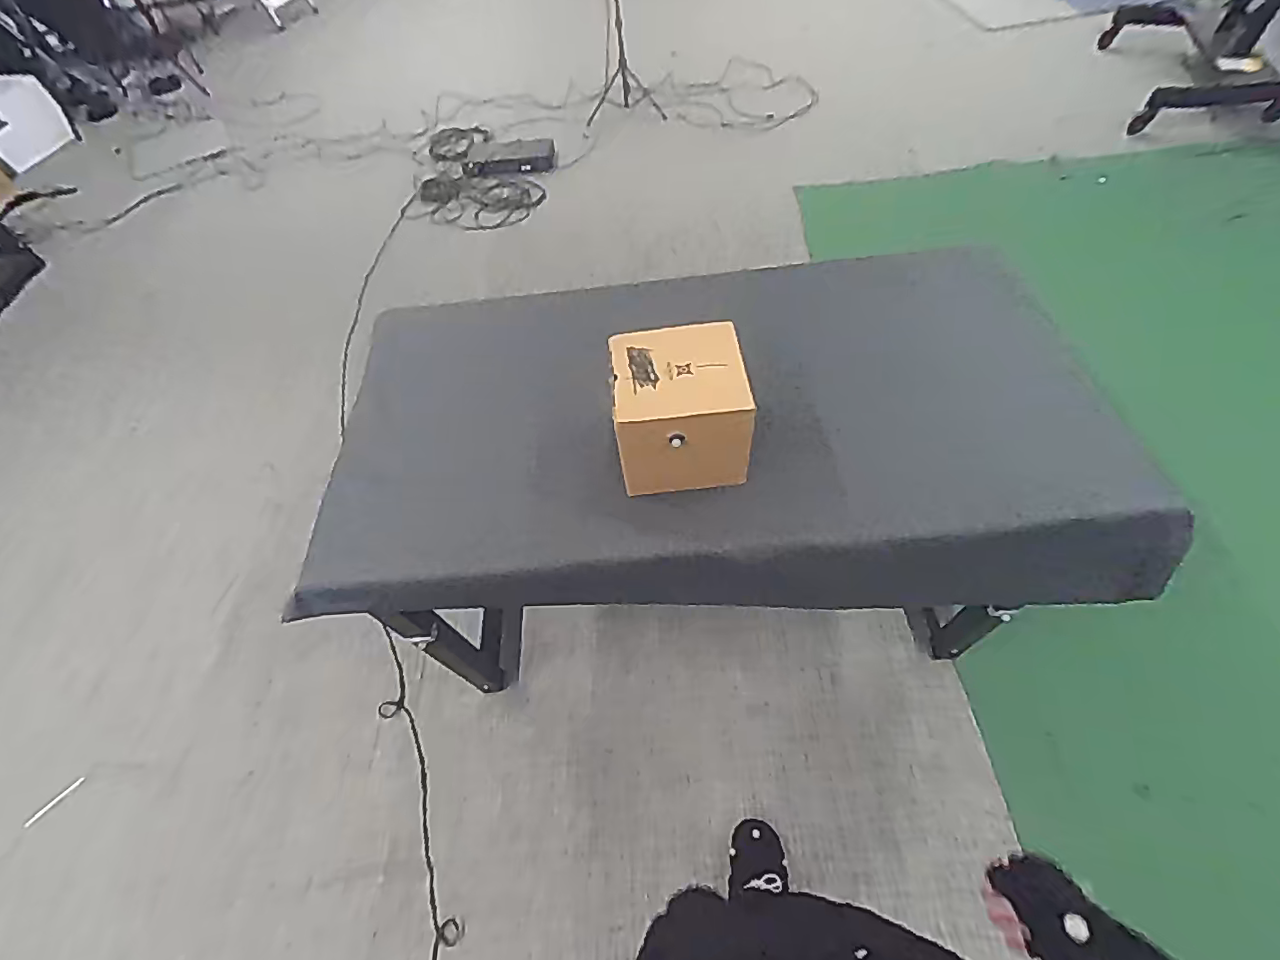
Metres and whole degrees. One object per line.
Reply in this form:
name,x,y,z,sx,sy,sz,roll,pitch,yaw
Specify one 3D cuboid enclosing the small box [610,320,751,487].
small box,0.056,-0.102,0.774,0.179,0.176,0.168,-6,56,2
